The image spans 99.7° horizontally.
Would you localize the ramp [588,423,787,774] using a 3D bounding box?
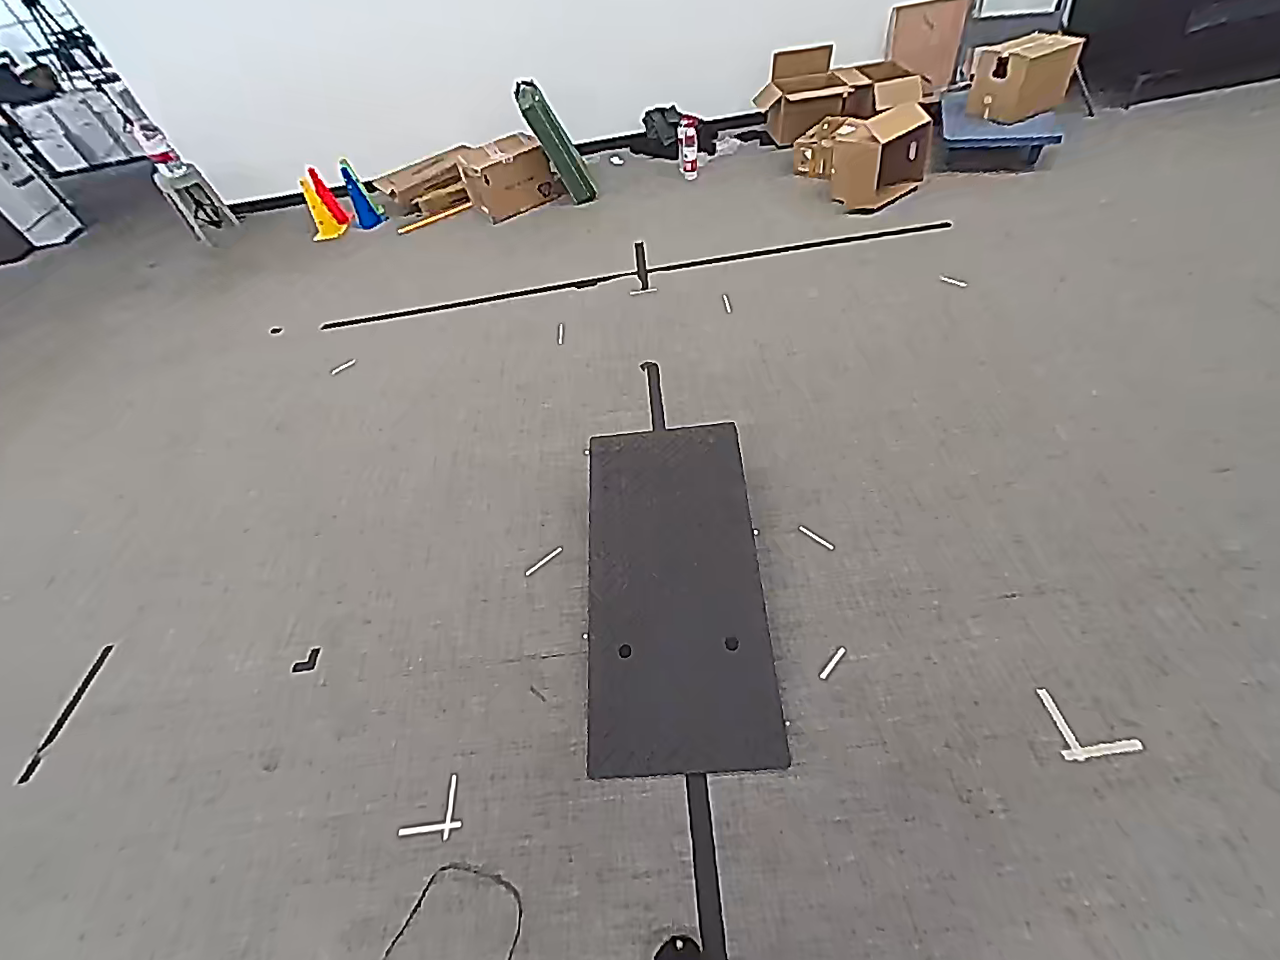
[{"bbox_3d":[0.093,0.266,1.550,0.509,0.206,0.991,-6,49,3],"label":"ramp"}]
